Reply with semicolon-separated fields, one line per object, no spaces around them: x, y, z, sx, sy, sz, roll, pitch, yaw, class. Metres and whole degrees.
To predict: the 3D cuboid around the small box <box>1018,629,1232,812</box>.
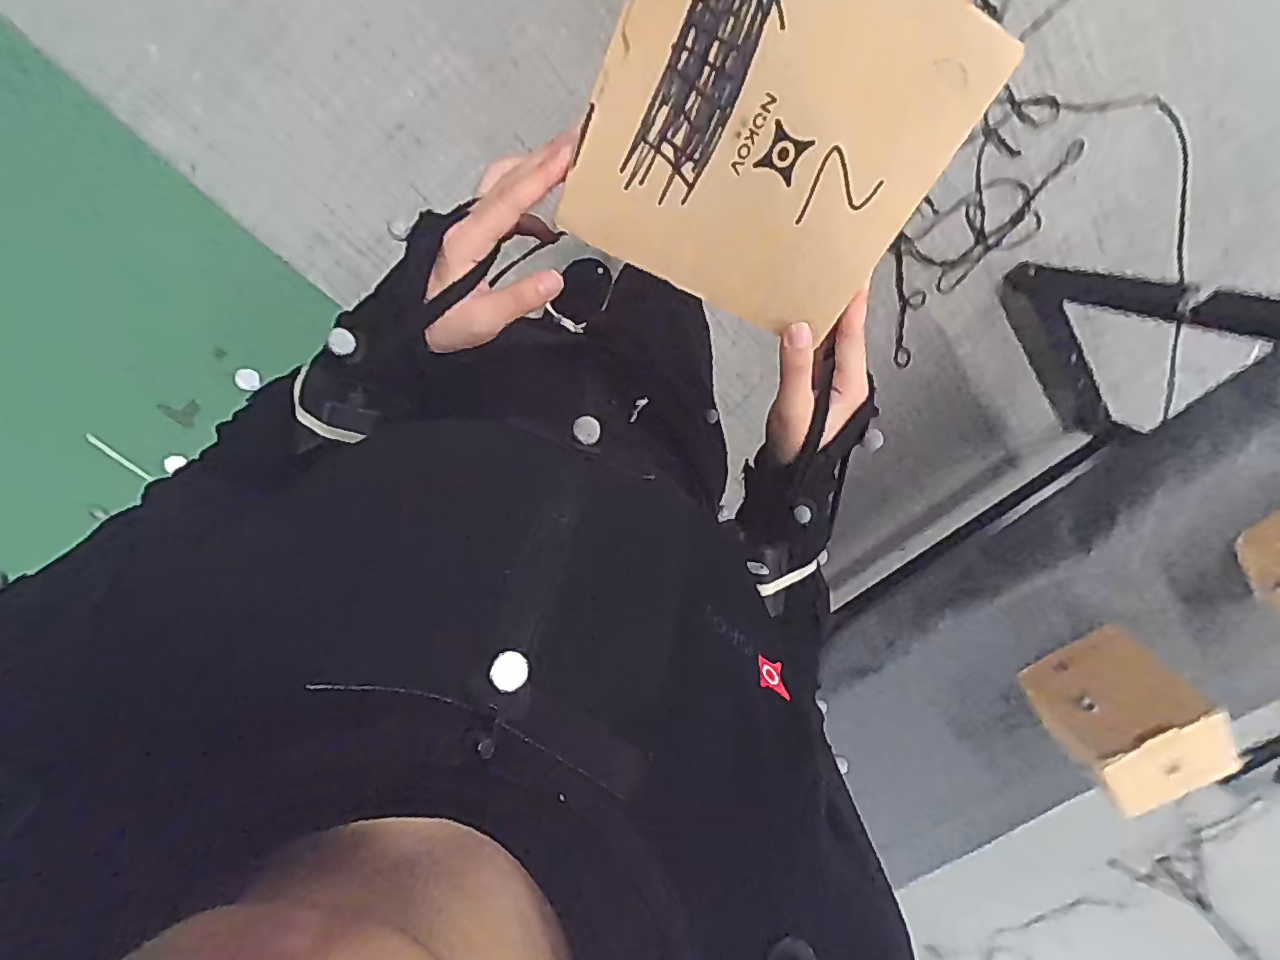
0.722;0.354;0.821;0.168;0.176;0.179;-36;118;13;small box

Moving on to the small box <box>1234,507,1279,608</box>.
0.981;0.112;0.725;0.179;0.176;0.168;-41;116;15;small box
